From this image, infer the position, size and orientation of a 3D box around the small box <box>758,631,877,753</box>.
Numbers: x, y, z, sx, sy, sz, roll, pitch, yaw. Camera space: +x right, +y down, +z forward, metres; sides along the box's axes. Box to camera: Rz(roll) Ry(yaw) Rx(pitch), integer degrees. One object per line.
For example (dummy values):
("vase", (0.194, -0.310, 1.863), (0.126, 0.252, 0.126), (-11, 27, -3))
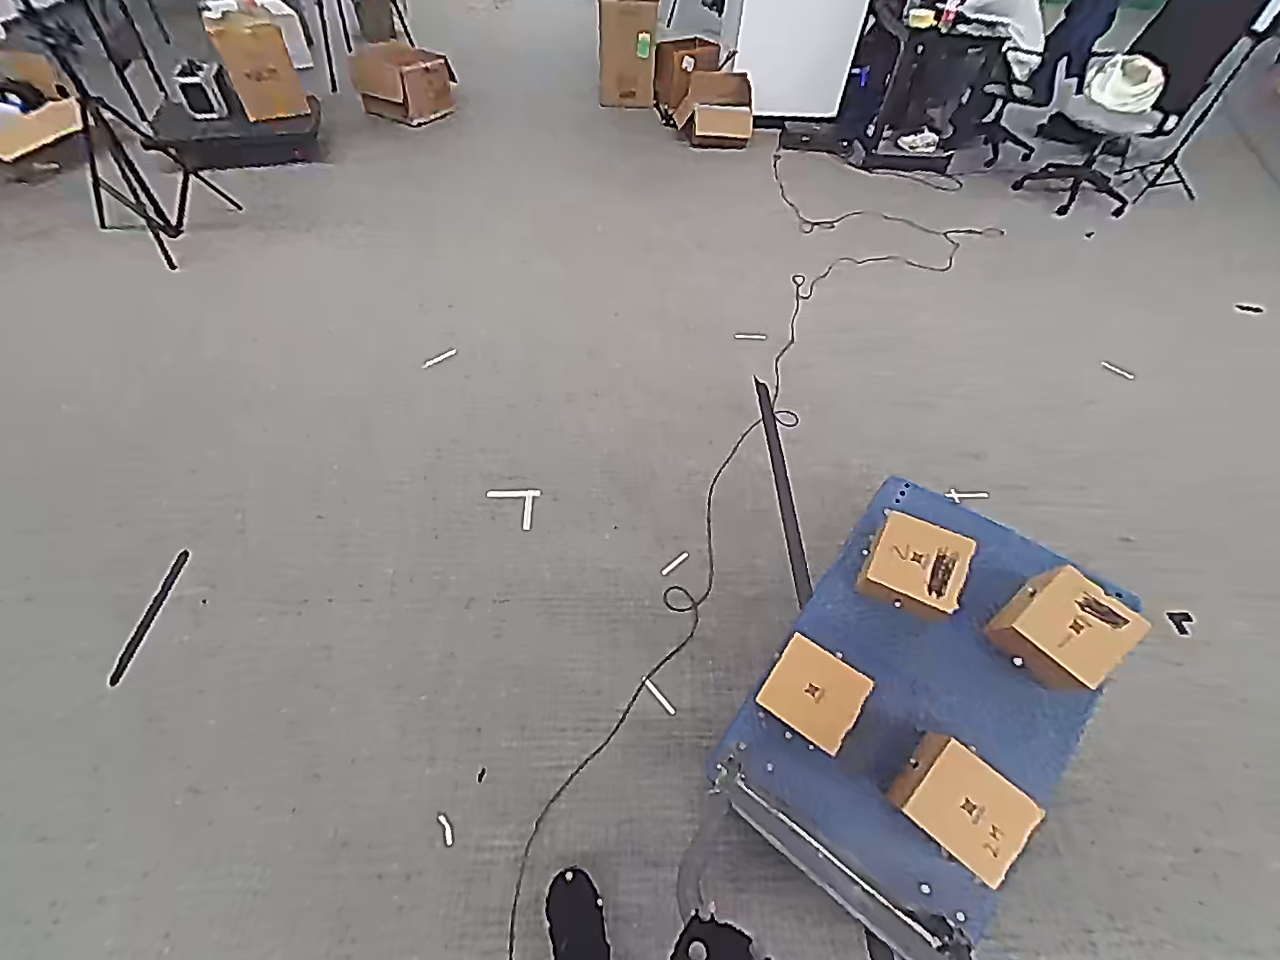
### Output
("small box", (0.366, 0.448, 1.150), (0.179, 0.176, 0.168), (31, 78, 20))

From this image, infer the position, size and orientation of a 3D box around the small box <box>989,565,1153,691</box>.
("small box", (0.857, 0.304, 1.099), (0.179, 0.176, 0.168), (-43, 66, -5))

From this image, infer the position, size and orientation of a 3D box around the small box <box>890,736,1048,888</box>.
("small box", (0.609, 0.614, 1.030), (0.179, 0.176, 0.168), (38, 81, 23))
